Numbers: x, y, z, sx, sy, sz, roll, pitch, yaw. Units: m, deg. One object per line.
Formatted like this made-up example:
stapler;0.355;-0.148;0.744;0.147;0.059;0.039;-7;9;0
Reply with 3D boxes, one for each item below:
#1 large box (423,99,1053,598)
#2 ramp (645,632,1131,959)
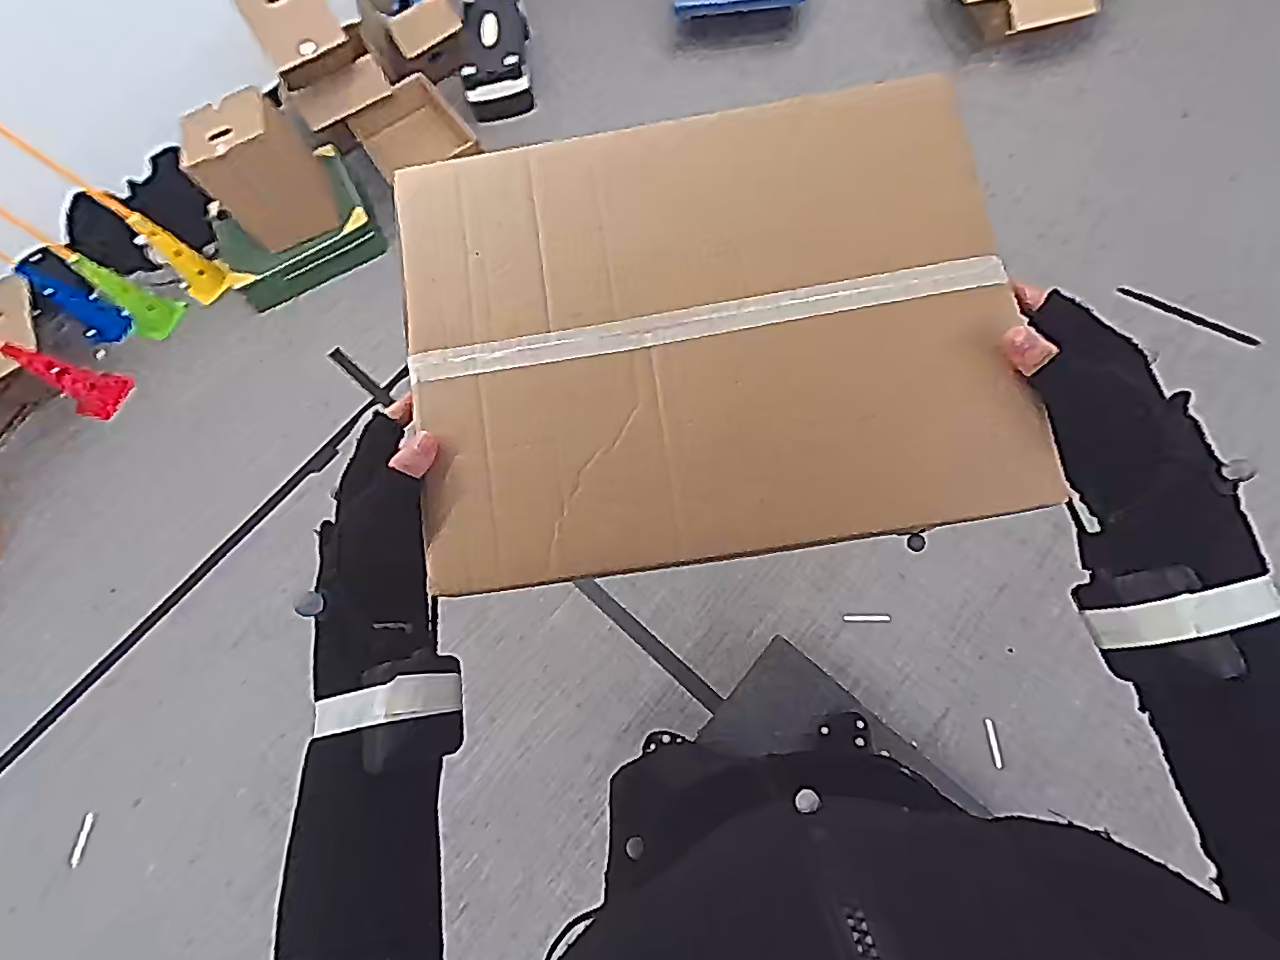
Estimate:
large box;0.062;-0.079;0.524;0.408;0.320;0.320;-8;80;2
ramp;0.540;0.858;1.212;0.991;0.206;0.509;36;76;19
